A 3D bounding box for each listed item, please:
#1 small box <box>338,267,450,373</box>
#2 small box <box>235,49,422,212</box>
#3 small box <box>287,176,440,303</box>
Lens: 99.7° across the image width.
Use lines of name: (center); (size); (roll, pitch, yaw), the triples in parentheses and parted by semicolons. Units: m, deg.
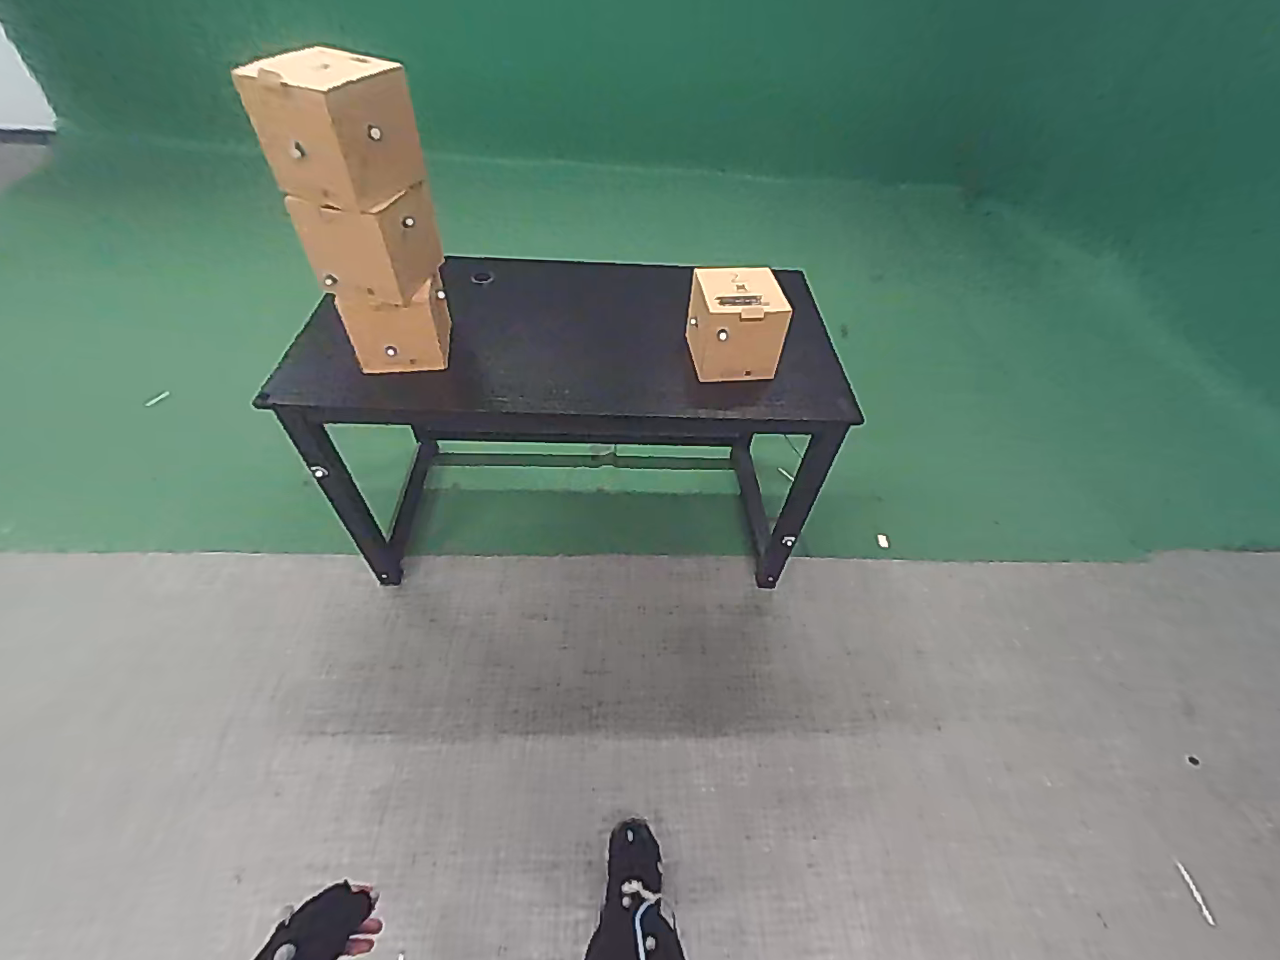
small box: (-0.495, -0.342, 1.117); (0.168, 0.176, 0.179); (-5, 51, -9)
small box: (-0.481, -0.560, 0.871); (0.168, 0.176, 0.179); (20, 52, 11)
small box: (-0.489, -0.448, 0.992); (0.168, 0.176, 0.179); (12, 50, 5)
